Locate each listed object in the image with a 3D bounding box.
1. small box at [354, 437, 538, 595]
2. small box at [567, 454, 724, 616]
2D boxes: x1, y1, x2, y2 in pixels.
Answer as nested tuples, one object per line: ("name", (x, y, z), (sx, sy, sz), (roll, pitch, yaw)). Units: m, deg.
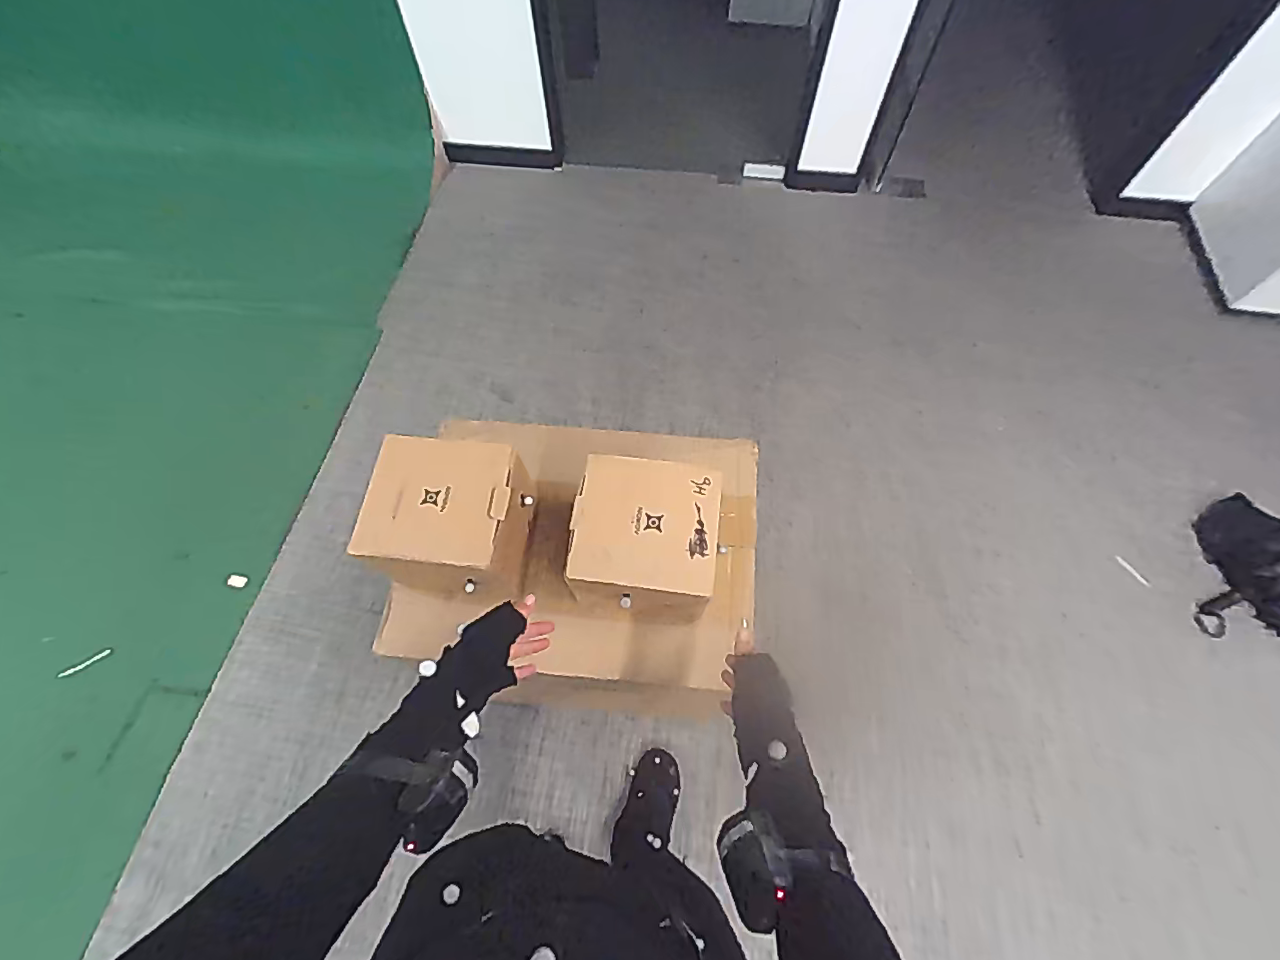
("small box", (-0.249, 0.057, 0.749), (0.179, 0.176, 0.168), (4, 65, 3))
("small box", (0.012, 0.082, 0.734), (0.179, 0.176, 0.168), (7, 67, 4))
